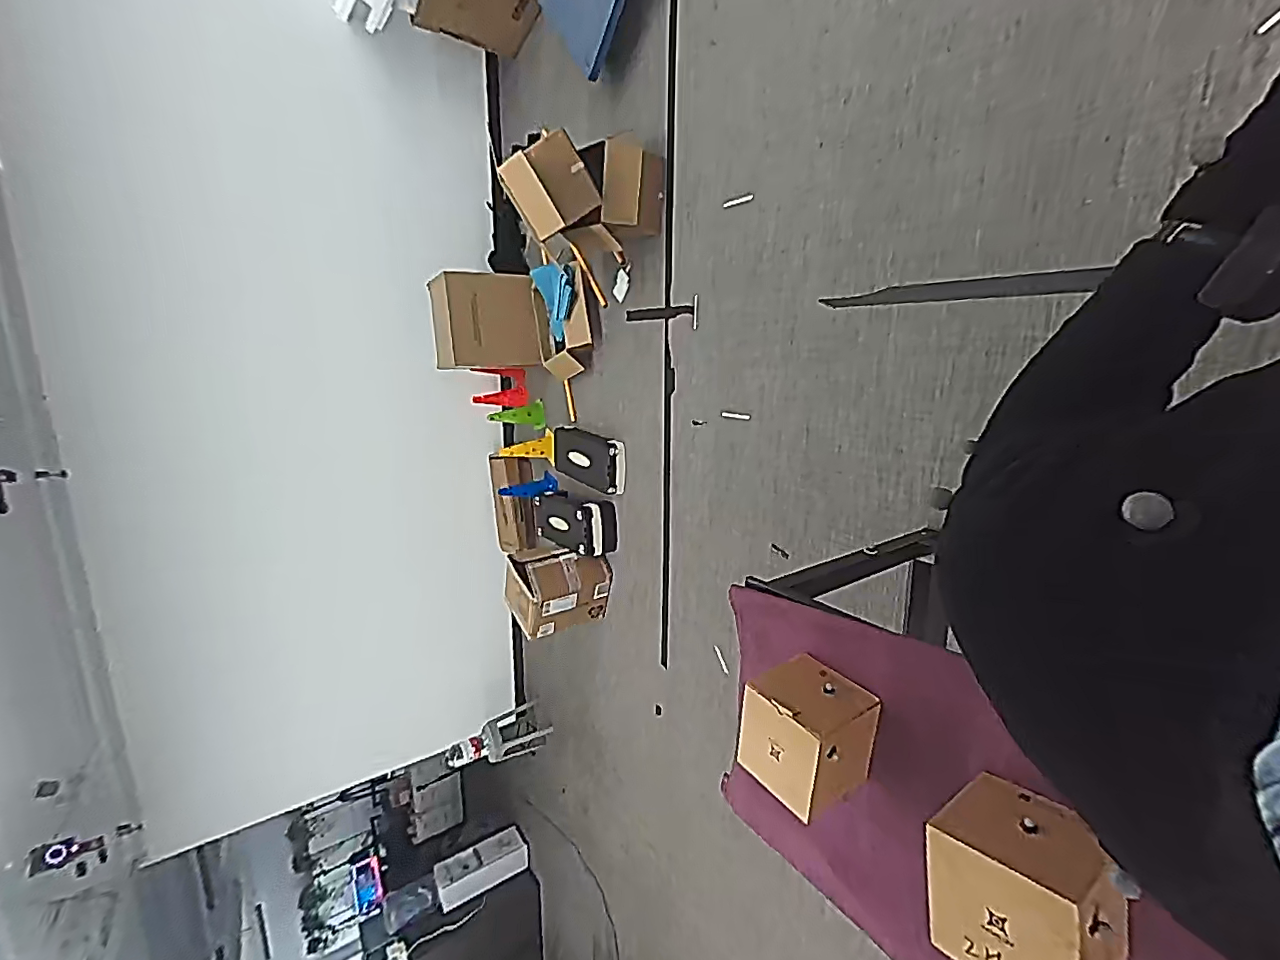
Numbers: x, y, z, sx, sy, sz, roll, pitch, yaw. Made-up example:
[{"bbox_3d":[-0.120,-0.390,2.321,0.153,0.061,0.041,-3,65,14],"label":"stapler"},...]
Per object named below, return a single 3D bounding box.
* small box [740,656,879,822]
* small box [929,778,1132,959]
[{"bbox_3d":[0.301,0.450,0.967,0.168,0.176,0.179,24,117,51],"label":"small box"},{"bbox_3d":[0.497,0.525,0.693,0.168,0.176,0.179,3,100,56],"label":"small box"}]
